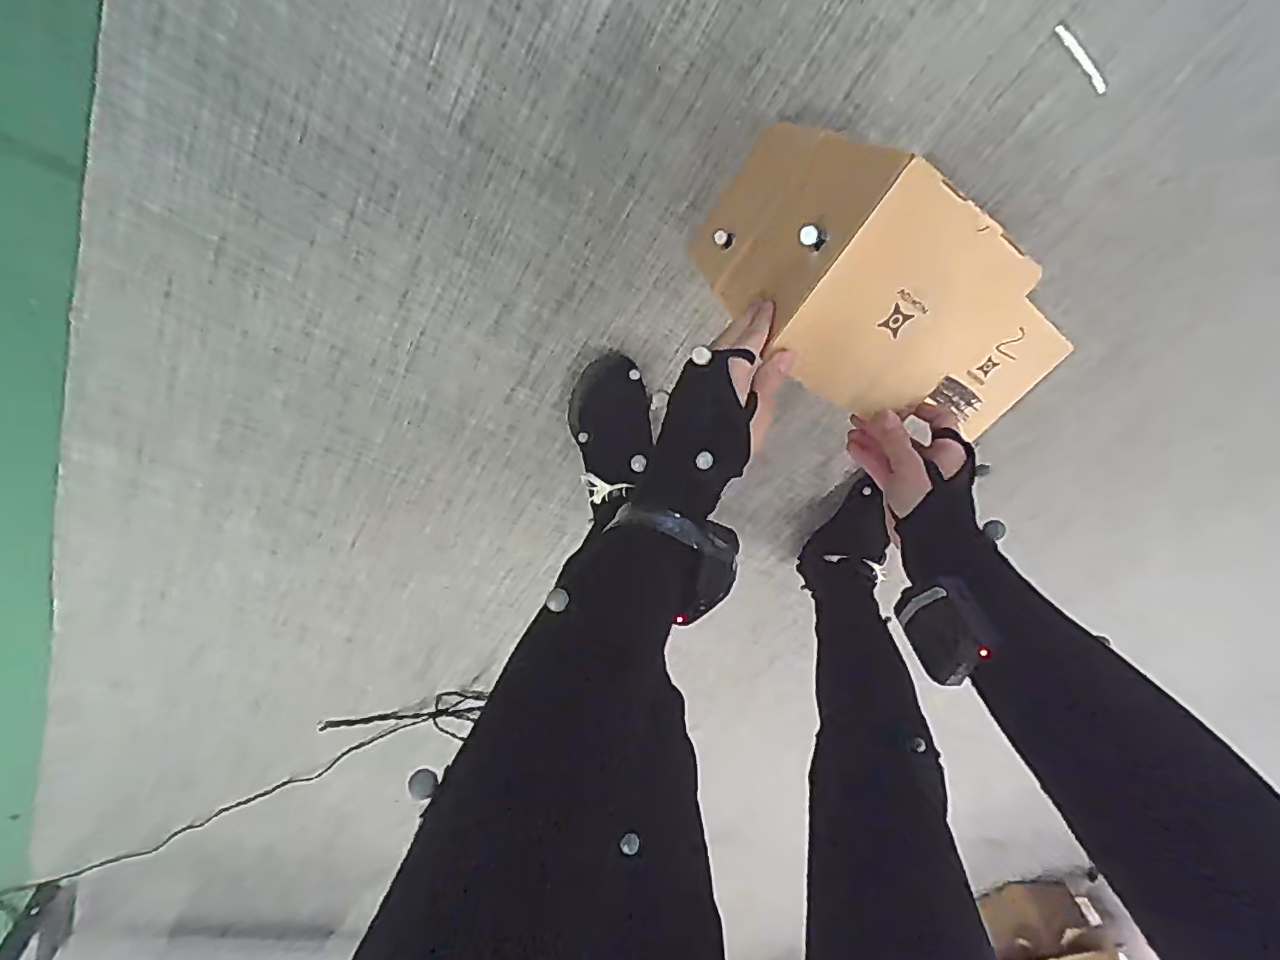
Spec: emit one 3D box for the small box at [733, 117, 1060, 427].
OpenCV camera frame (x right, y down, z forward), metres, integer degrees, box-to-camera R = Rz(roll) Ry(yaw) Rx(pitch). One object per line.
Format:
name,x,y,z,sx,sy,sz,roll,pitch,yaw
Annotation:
small box,0.201,-0.186,0.484,0.168,0.176,0.179,24,120,-23

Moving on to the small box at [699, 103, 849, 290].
small box,0.183,-0.284,0.611,0.168,0.176,0.179,27,120,-25
